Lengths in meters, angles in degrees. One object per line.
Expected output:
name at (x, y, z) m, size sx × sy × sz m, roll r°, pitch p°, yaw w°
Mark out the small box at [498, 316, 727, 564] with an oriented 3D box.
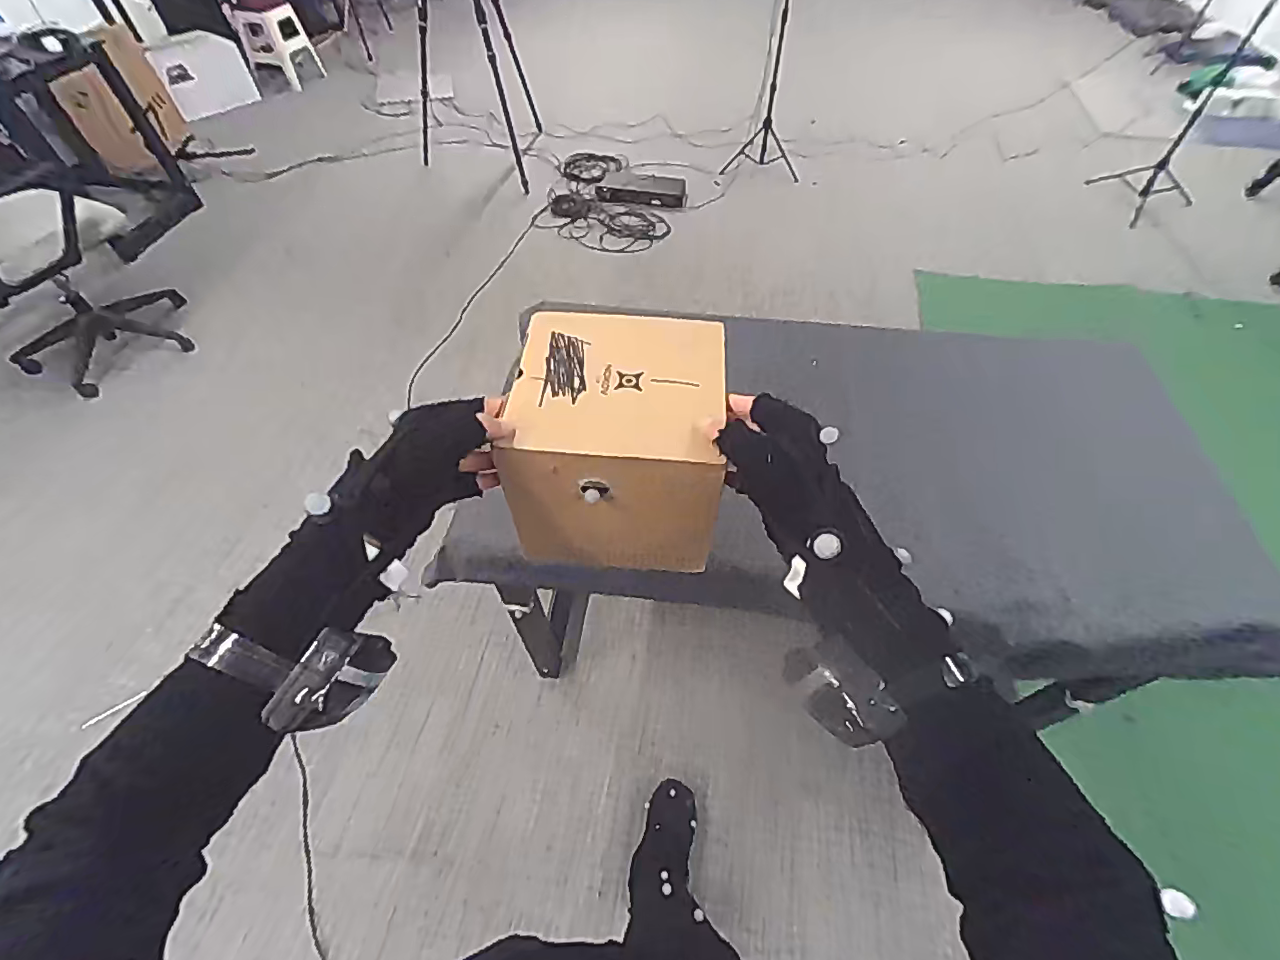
small box at (-0.016, -0.033, 0.513) m, size 0.179 × 0.176 × 0.168 m, roll 4°, pitch 53°, yaw 2°
